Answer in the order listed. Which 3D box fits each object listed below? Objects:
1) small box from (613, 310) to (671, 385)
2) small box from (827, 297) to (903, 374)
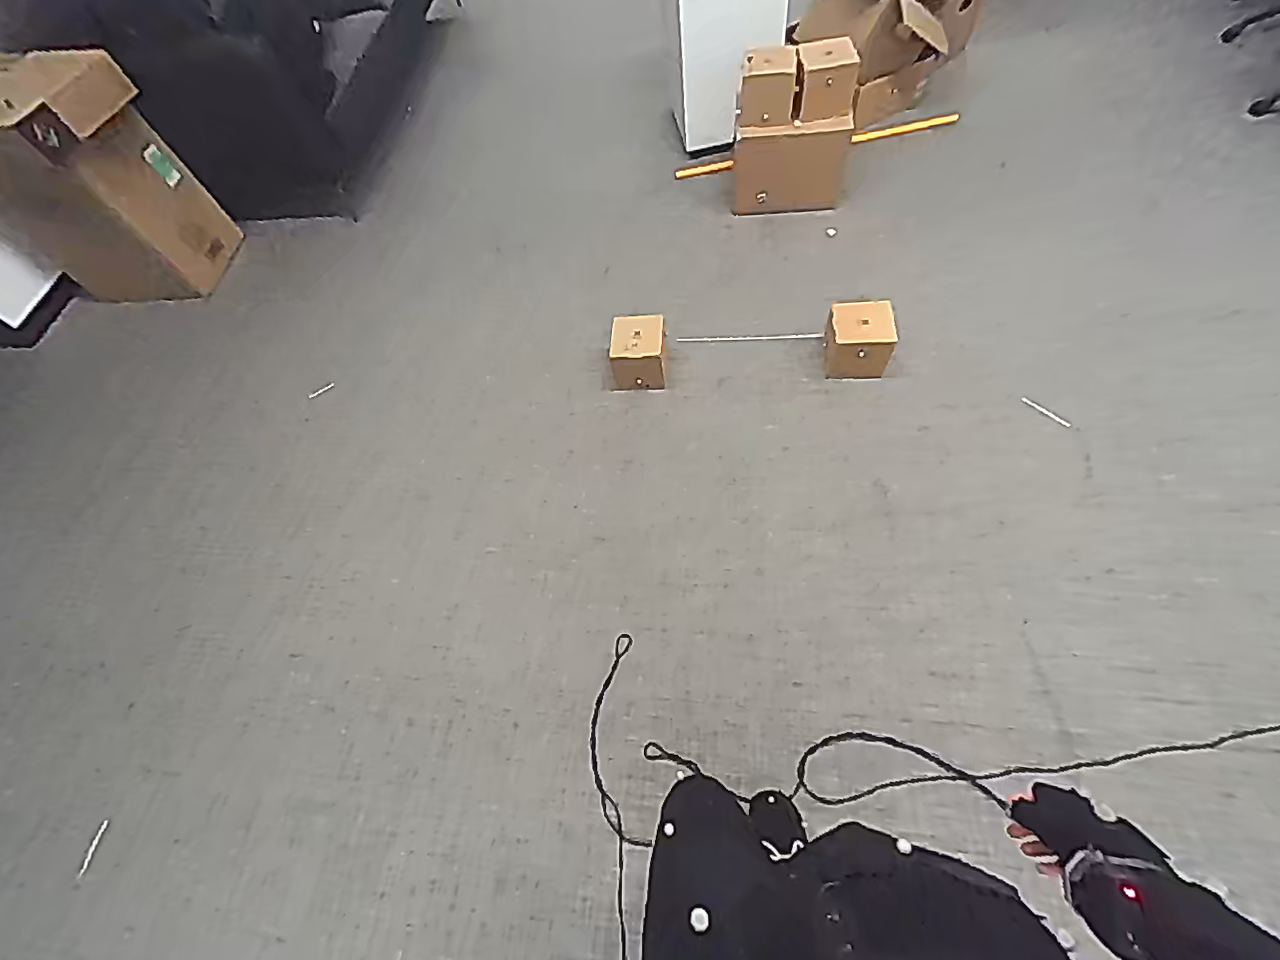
[{"bbox_3d":[0.012,-0.431,1.769,0.168,0.176,0.179,0,62,9],"label":"small box"},{"bbox_3d":[0.690,-0.443,1.673,0.179,0.176,0.168,0,63,9],"label":"small box"}]
